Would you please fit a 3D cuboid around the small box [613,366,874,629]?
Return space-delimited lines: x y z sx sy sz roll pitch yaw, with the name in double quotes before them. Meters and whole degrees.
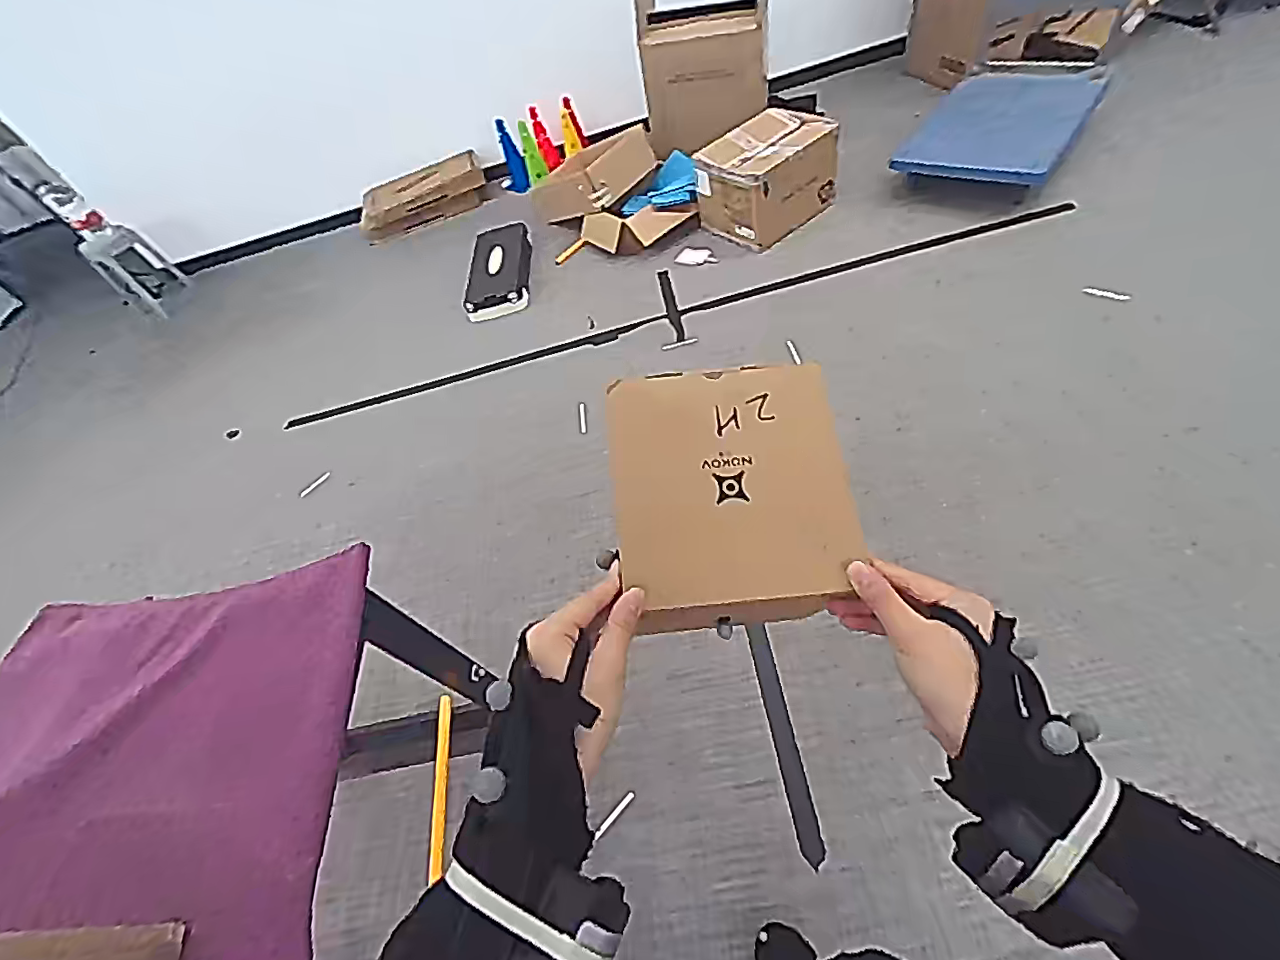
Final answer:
"small box" 0.067 0.028 0.454 0.168 0.176 0.179 -4 68 -2
